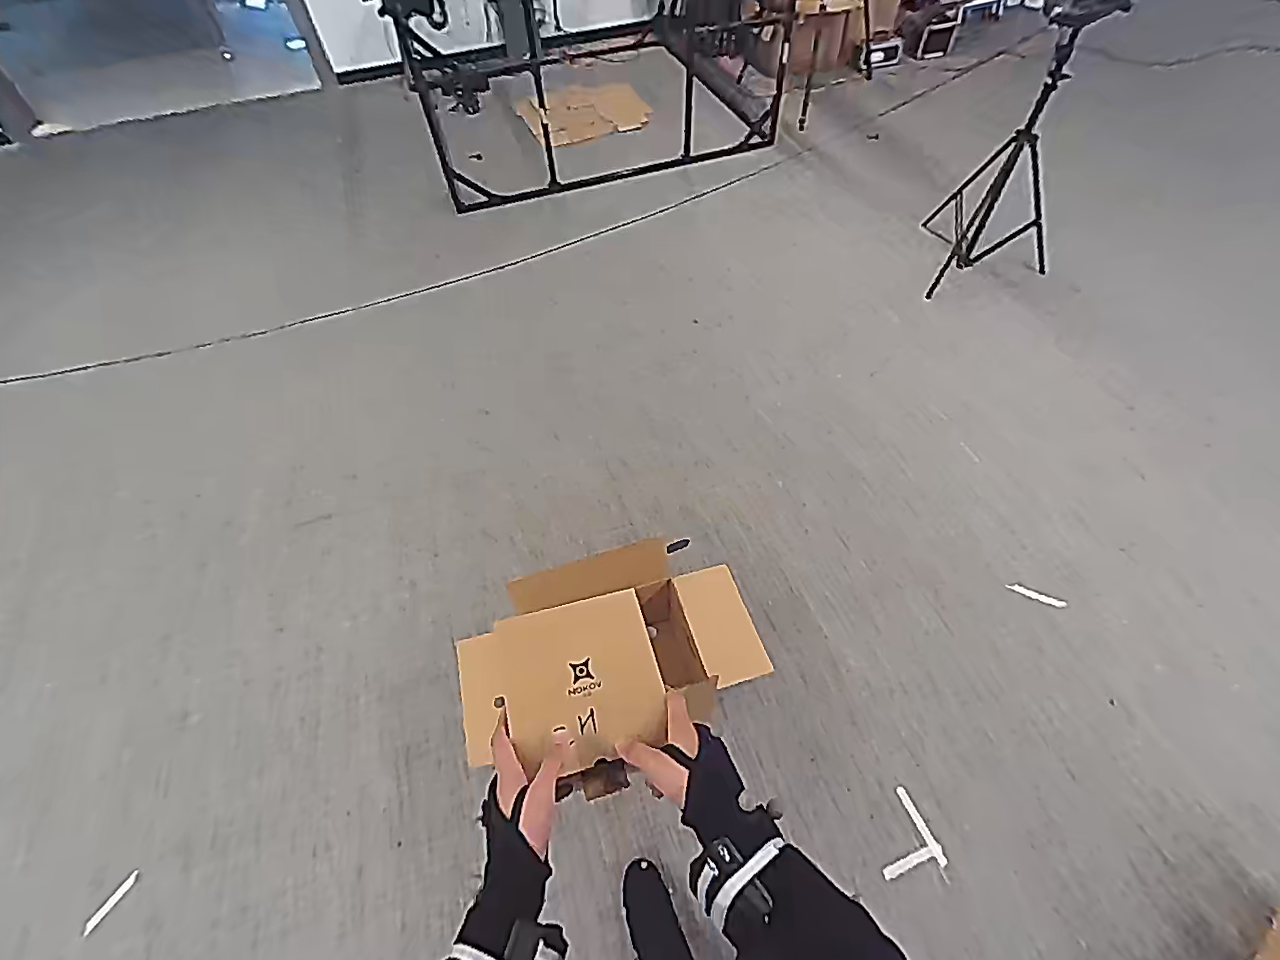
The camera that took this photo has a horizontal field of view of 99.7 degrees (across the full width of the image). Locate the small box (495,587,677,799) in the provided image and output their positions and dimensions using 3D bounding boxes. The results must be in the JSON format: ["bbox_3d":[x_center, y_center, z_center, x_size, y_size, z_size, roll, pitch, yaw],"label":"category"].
[{"bbox_3d":[-0.068,0.254,0.639,0.168,0.176,0.179,-12,58,-12],"label":"small box"}]
